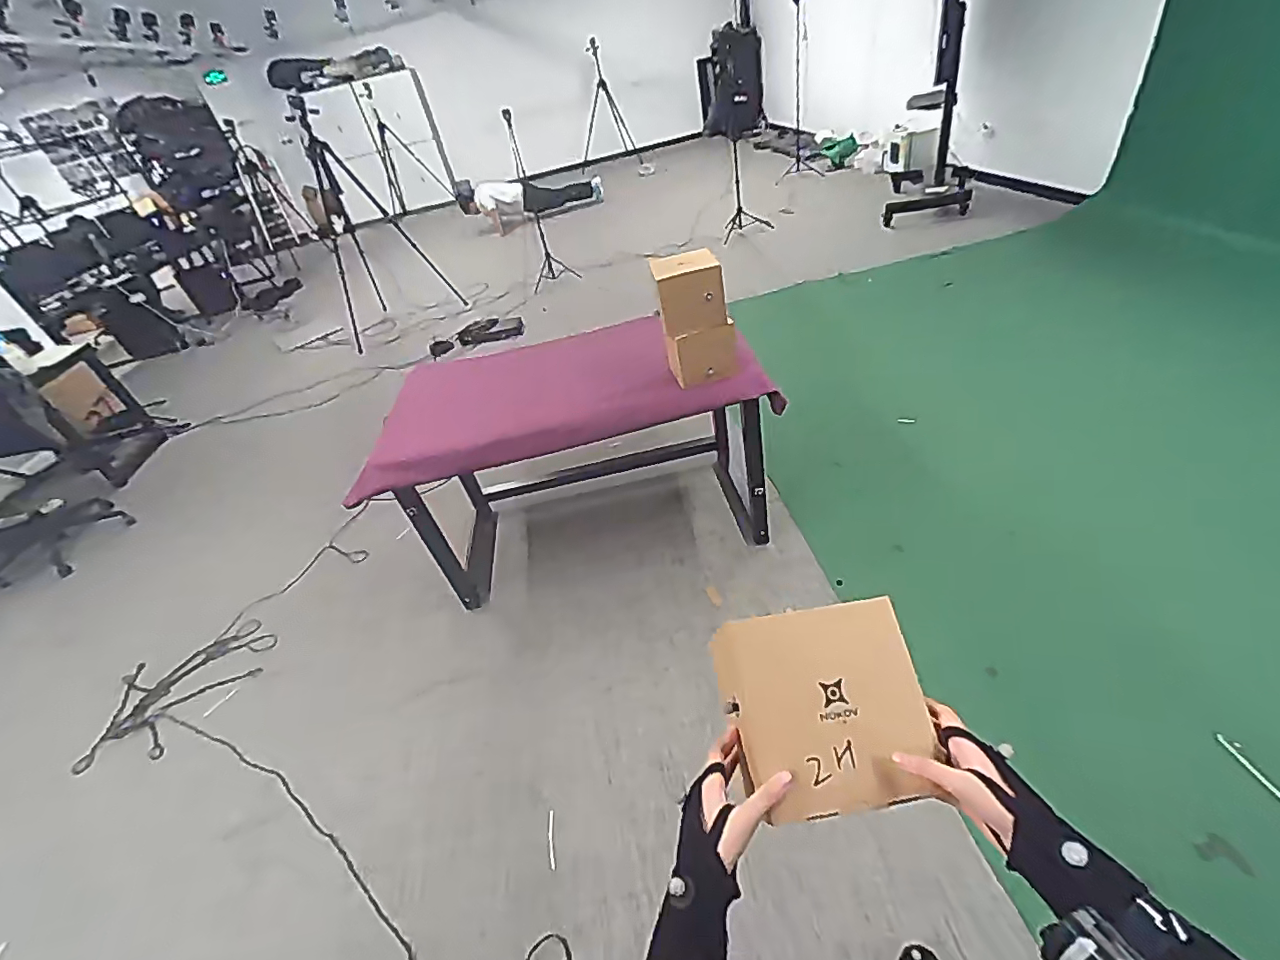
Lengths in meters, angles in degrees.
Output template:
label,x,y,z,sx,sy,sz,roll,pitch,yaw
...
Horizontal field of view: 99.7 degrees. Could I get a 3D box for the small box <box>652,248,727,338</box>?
label,x,y,z,sx,sy,sz,roll,pitch,yaw
small box,0.140,-0.519,1.508,0.179,0.176,0.168,-13,38,3

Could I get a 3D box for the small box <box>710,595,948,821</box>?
label,x,y,z,sx,sy,sz,roll,pitch,yaw
small box,0.175,0.234,0.570,0.168,0.176,0.179,-9,67,-3

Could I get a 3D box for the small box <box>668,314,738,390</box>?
label,x,y,z,sx,sy,sz,roll,pitch,yaw
small box,0.185,-0.393,1.603,0.179,0.176,0.168,-16,38,-2
